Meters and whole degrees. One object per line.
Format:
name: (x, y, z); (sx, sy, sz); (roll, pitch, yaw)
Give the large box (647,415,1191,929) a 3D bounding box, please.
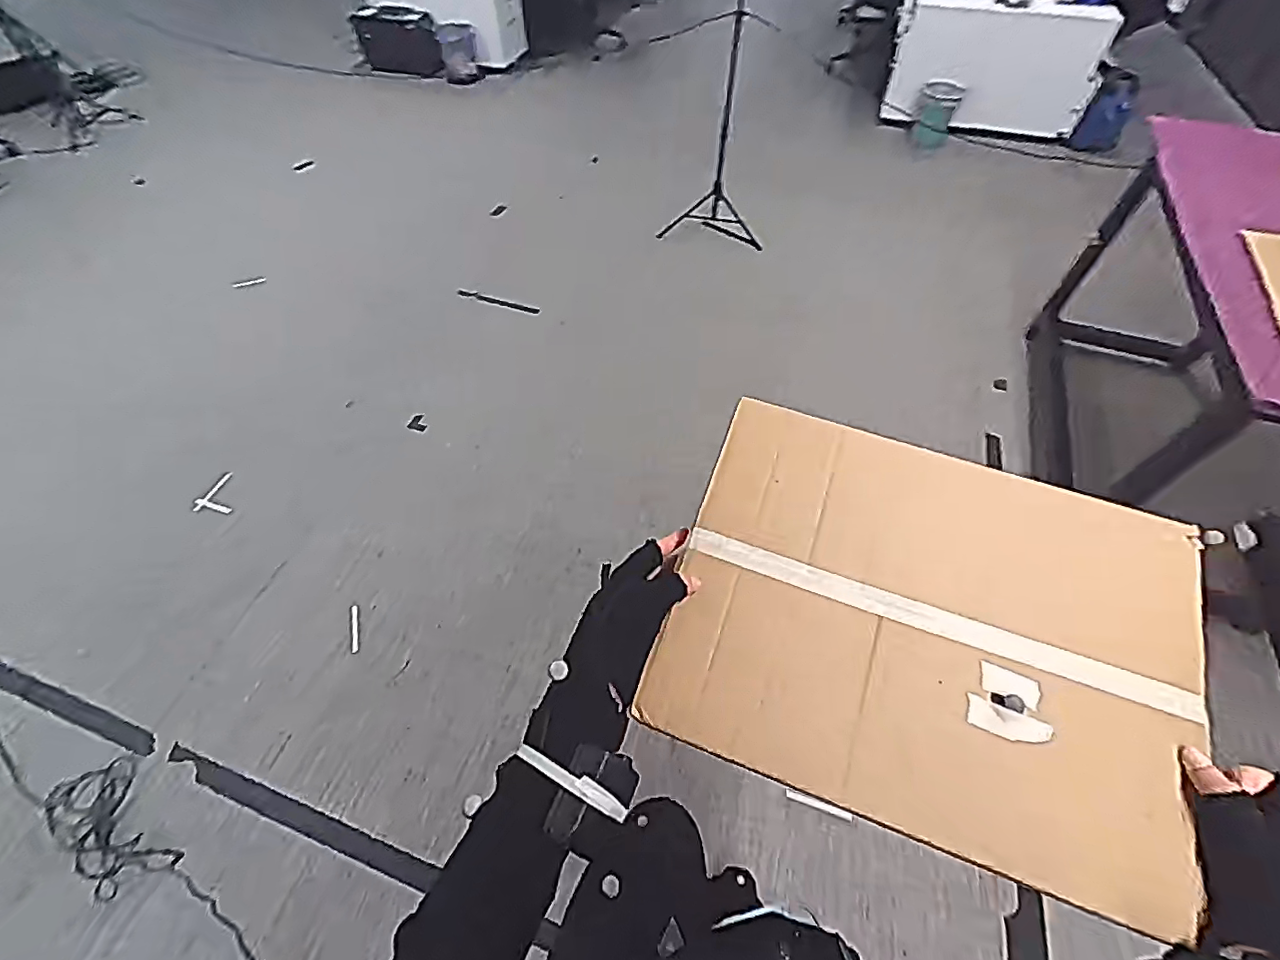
large box: (0.245, 0.180, 0.592); (0.408, 0.320, 0.320); (18, 69, 10)
